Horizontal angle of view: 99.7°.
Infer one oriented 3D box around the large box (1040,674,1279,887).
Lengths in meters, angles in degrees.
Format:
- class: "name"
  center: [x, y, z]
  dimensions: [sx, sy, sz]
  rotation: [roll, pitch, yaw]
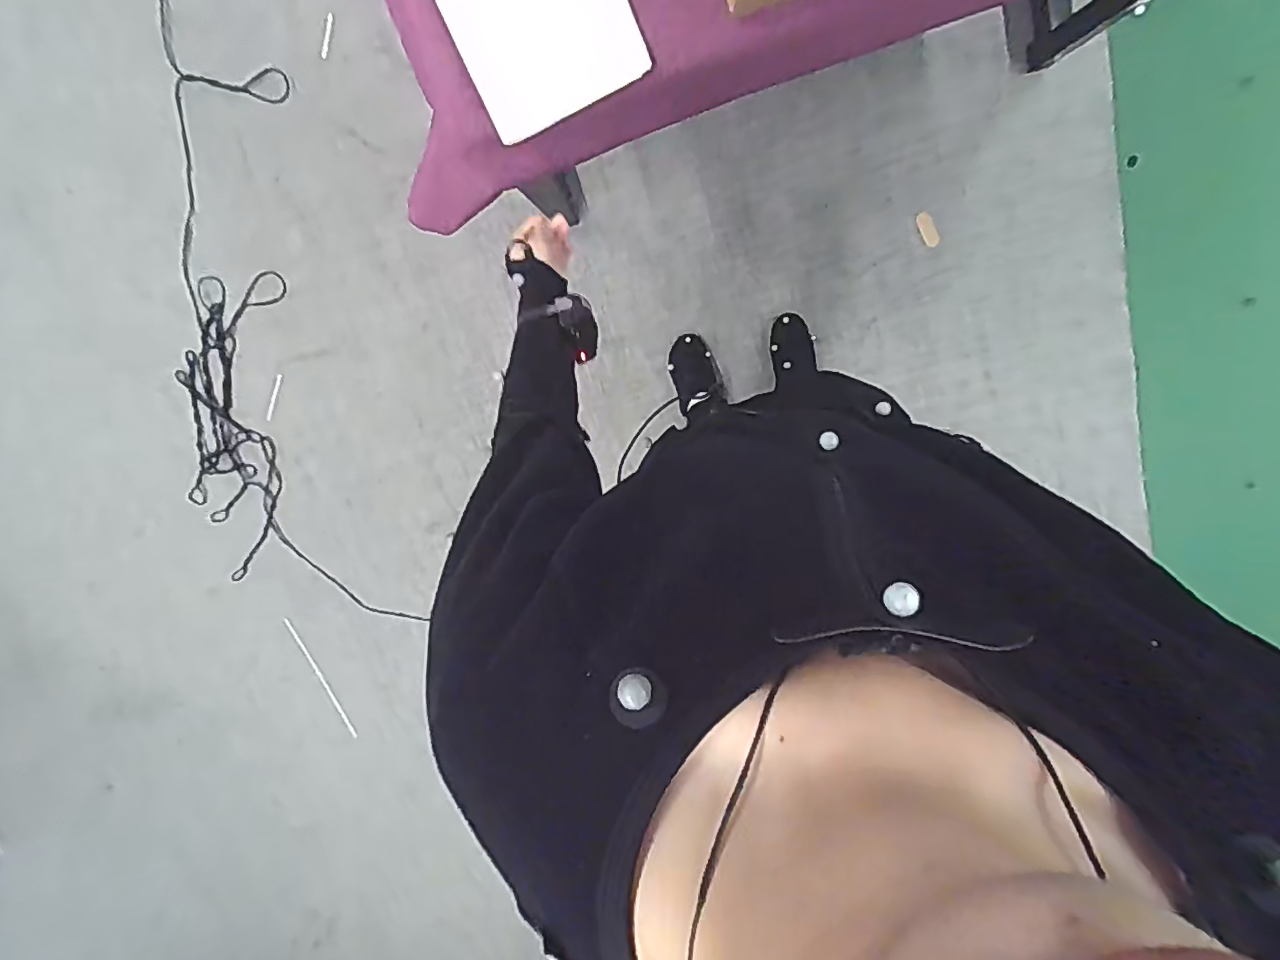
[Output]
- class: "large box"
  center: [1.488, 0.843, 1.548]
  dimensions: [0.408, 0.320, 0.320]
  rotation: [-31, 103, 9]
